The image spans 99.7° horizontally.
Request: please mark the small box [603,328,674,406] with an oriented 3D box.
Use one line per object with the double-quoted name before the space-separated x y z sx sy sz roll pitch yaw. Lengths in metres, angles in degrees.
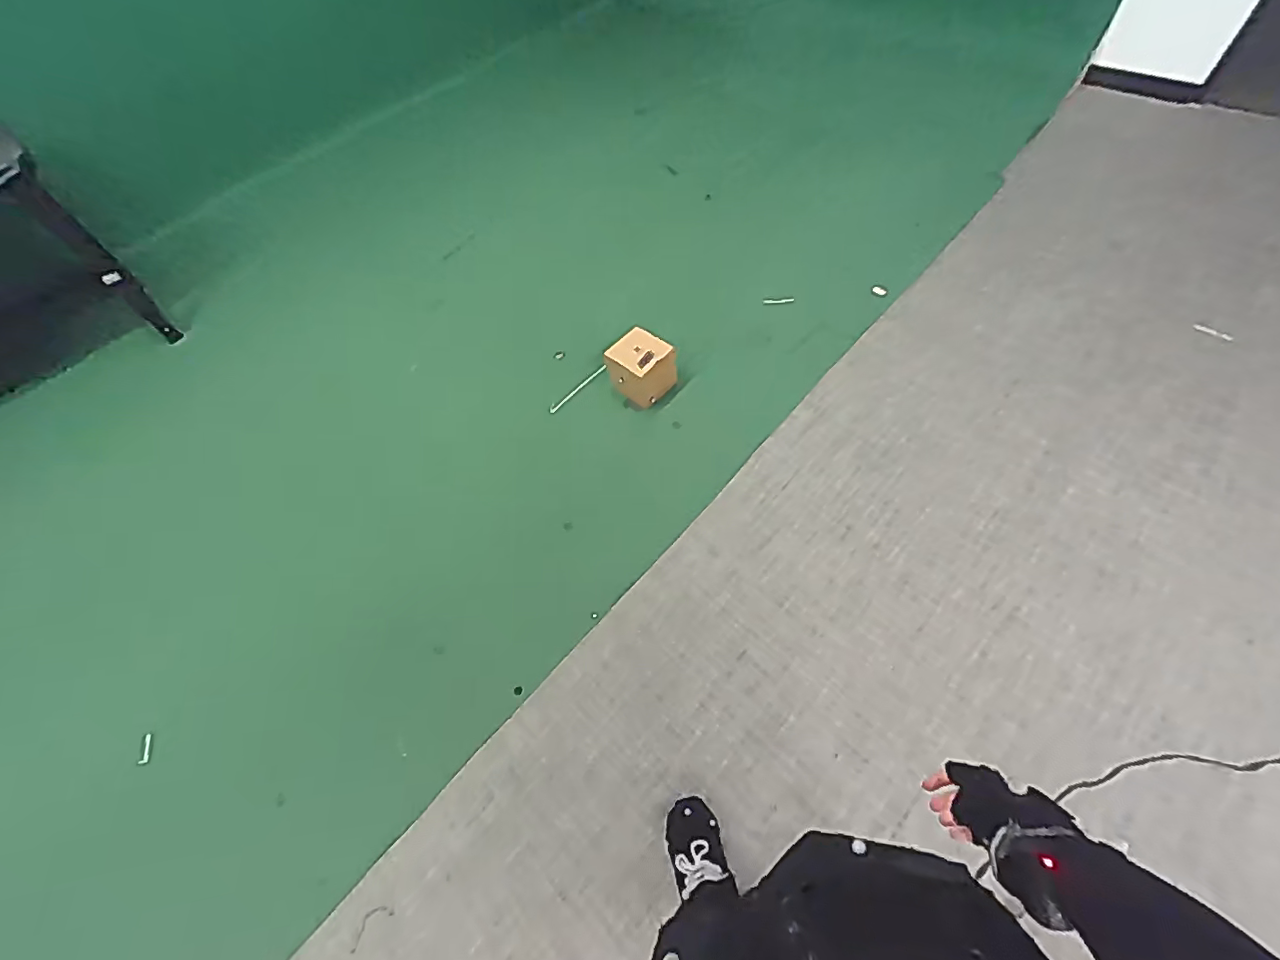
"small box" 0.002 -0.380 1.851 0.179 0.176 0.168 37 69 26
